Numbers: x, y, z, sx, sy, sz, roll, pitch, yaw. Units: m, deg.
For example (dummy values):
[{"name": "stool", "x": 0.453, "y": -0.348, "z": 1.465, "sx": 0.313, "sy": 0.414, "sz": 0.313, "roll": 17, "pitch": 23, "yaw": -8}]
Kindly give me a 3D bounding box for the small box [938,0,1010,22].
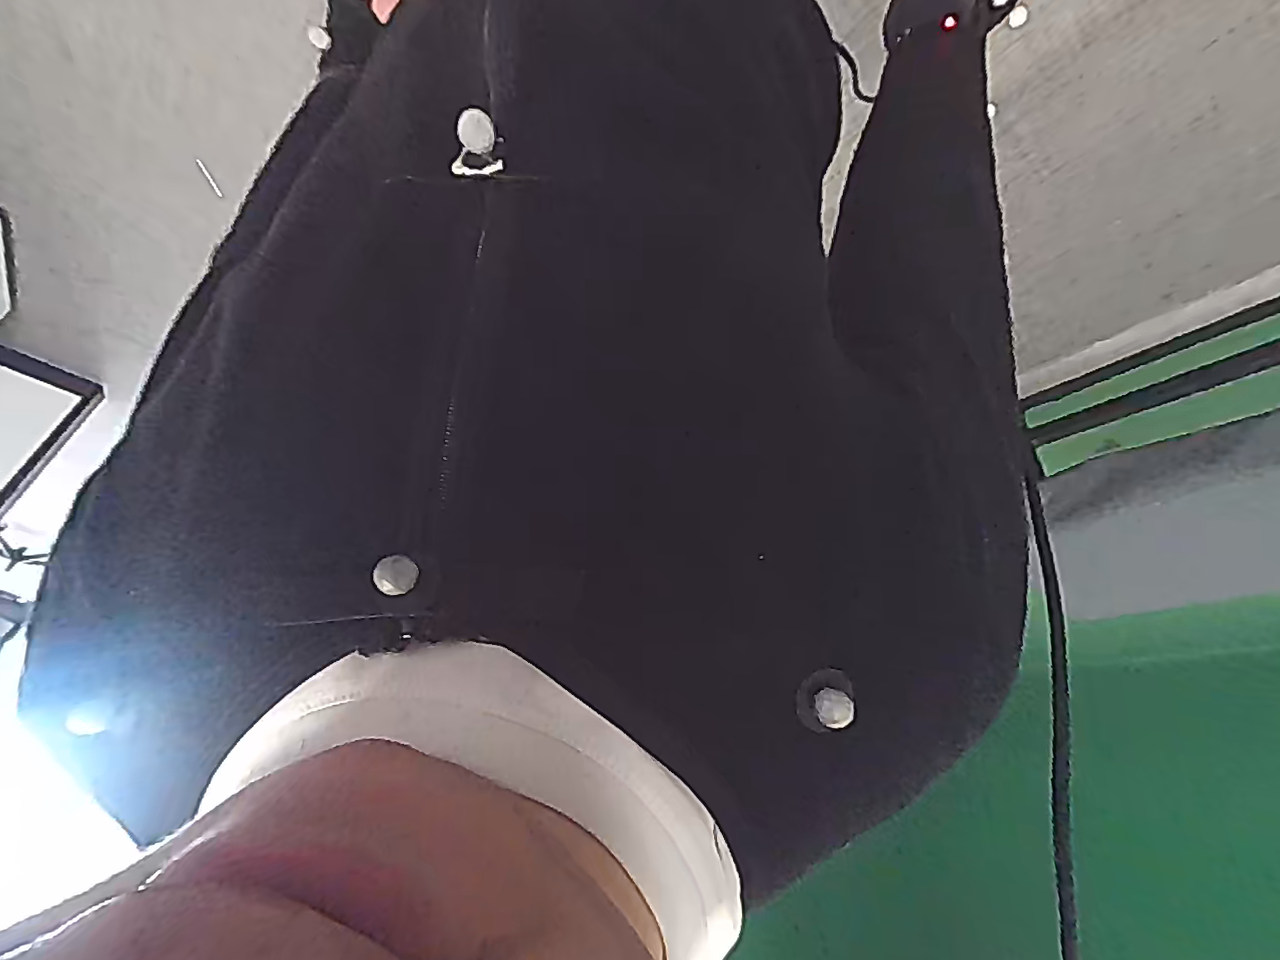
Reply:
[{"name": "small box", "x": 0.338, "y": -0.580, "z": 0.495, "sx": 0.168, "sy": 0.176, "sz": 0.179, "roll": 24, "pitch": 109, "yaw": -6}]
